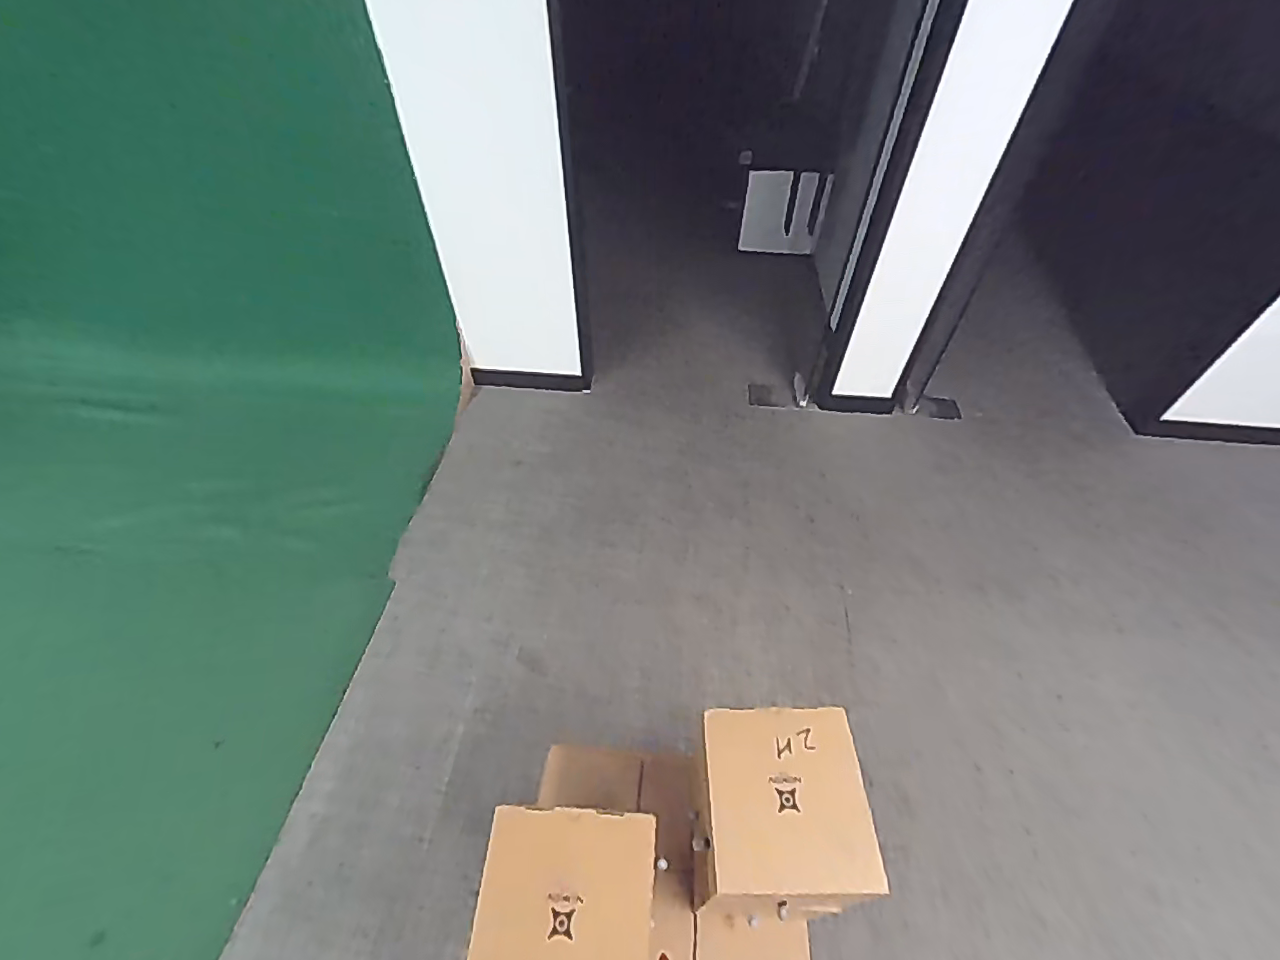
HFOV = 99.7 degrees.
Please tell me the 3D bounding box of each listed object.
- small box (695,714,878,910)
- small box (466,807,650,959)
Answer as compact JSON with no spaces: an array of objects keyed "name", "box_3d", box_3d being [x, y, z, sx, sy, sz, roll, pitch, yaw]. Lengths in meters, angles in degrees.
[{"name":"small box","box_3d":[0.153,0.391,0.635,0.168,0.176,0.179,0,49,1]},{"name":"small box","box_3d":[-0.076,0.465,0.574,0.168,0.176,0.179,3,51,1]}]
